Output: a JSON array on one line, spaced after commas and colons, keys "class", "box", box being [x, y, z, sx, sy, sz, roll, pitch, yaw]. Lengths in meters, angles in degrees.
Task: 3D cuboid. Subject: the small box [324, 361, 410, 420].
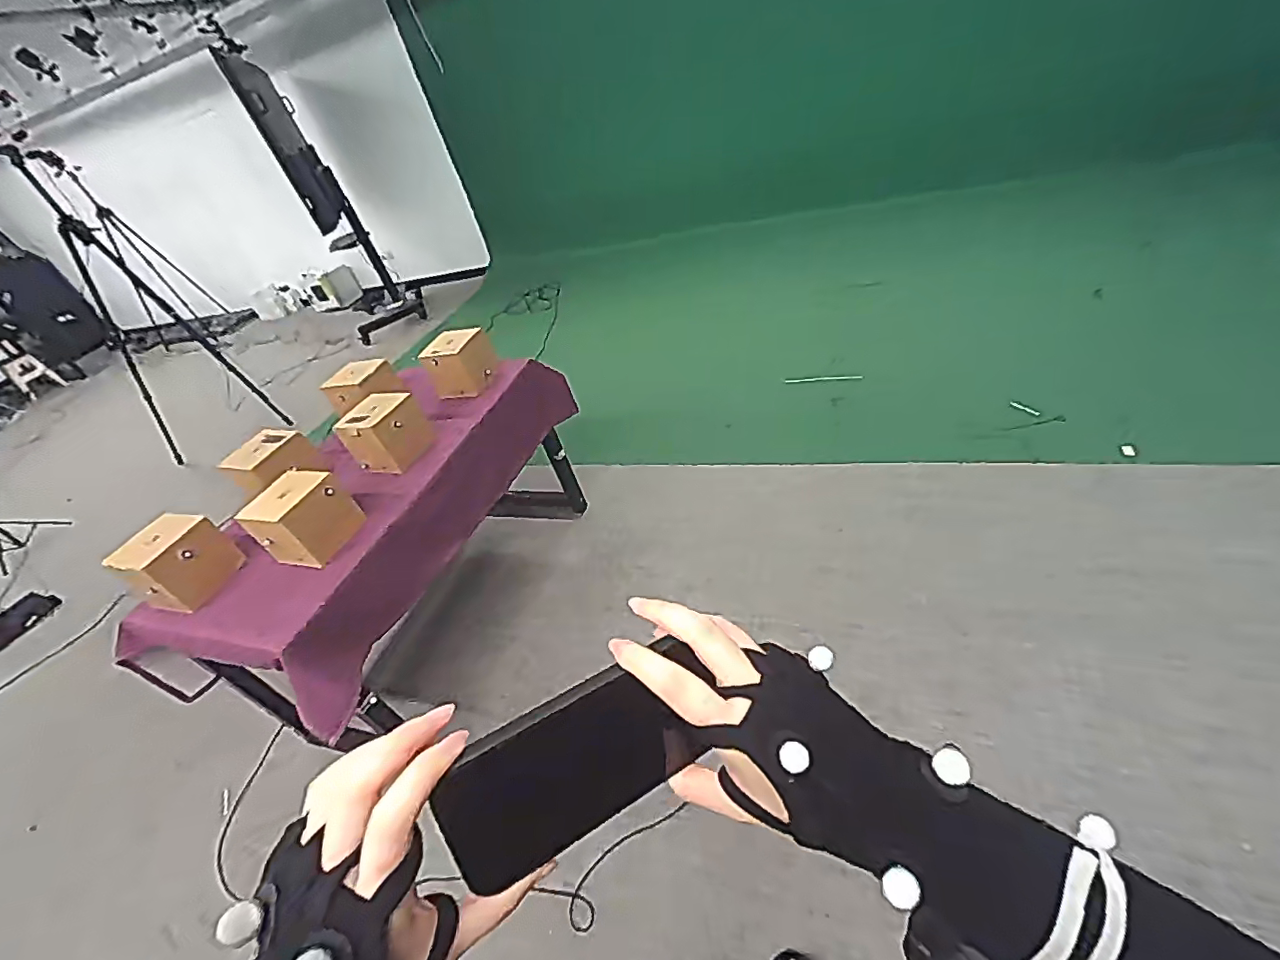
[{"class": "small box", "box": [-0.935, -0.293, 1.872, 0.179, 0.176, 0.168, -1, 42, 21]}]

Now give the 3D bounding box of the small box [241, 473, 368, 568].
[{"class": "small box", "box": [-0.832, 0.101, 1.360, 0.168, 0.176, 0.179, 2, 41, 24]}]

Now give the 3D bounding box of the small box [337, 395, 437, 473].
[{"class": "small box", "box": [-0.741, -0.135, 1.606, 0.168, 0.176, 0.179, 3, 42, 25]}]

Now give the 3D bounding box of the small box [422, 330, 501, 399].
[{"class": "small box", "box": [-0.605, -0.395, 1.863, 0.168, 0.176, 0.179, 0, 42, 23]}]
